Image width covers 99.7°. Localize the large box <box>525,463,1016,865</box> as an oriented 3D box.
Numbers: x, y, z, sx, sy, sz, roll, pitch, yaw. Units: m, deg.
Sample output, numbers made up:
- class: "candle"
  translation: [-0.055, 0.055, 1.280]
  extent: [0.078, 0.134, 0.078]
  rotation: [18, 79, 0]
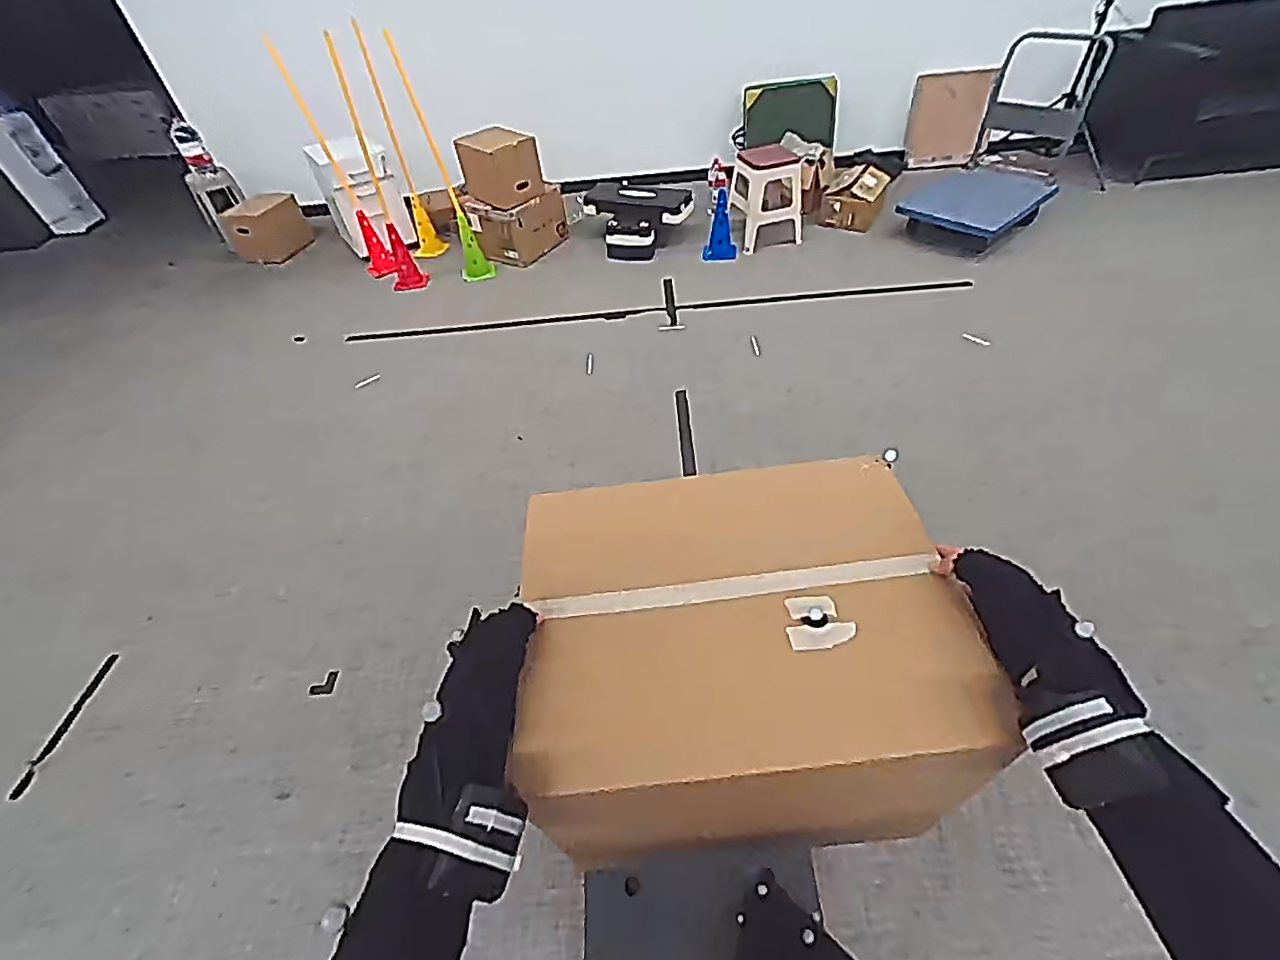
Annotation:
- class: "large box"
  translation: [0.104, 0.216, 0.635]
  extent: [0.408, 0.320, 0.320]
  rotation: [-7, 45, 1]
